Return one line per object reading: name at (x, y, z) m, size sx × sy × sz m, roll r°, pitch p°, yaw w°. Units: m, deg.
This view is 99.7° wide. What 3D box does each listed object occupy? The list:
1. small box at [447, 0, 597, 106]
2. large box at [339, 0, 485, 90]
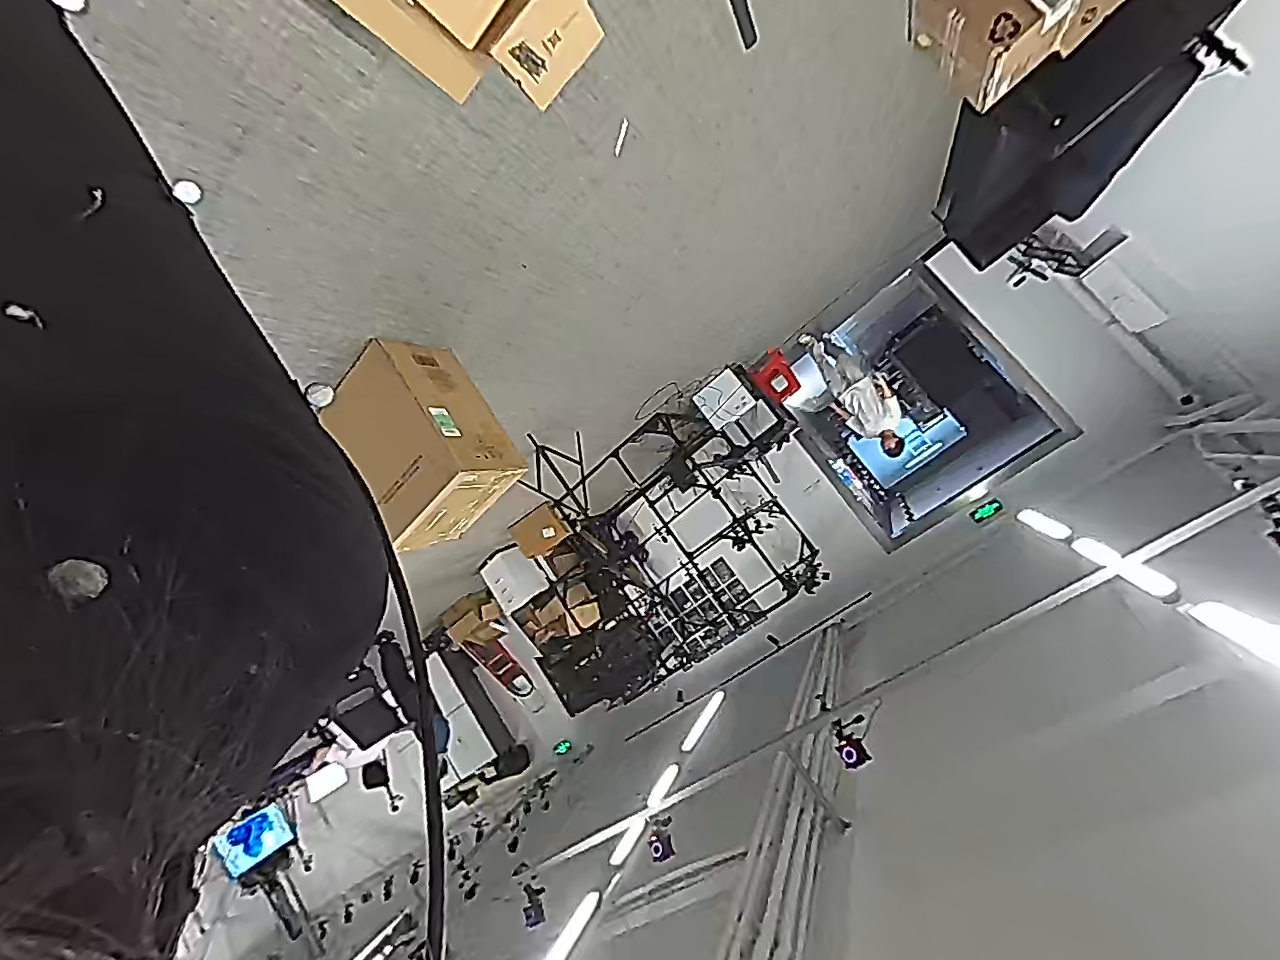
small box at (-0.213, -0.825, 0.945) m, size 0.179 × 0.176 × 0.168 m, roll -40°, pitch 169°, yaw 16°
large box at (-0.434, -0.982, 0.891) m, size 0.320 × 0.320 × 0.408 m, roll -39°, pitch 170°, yaw 21°
